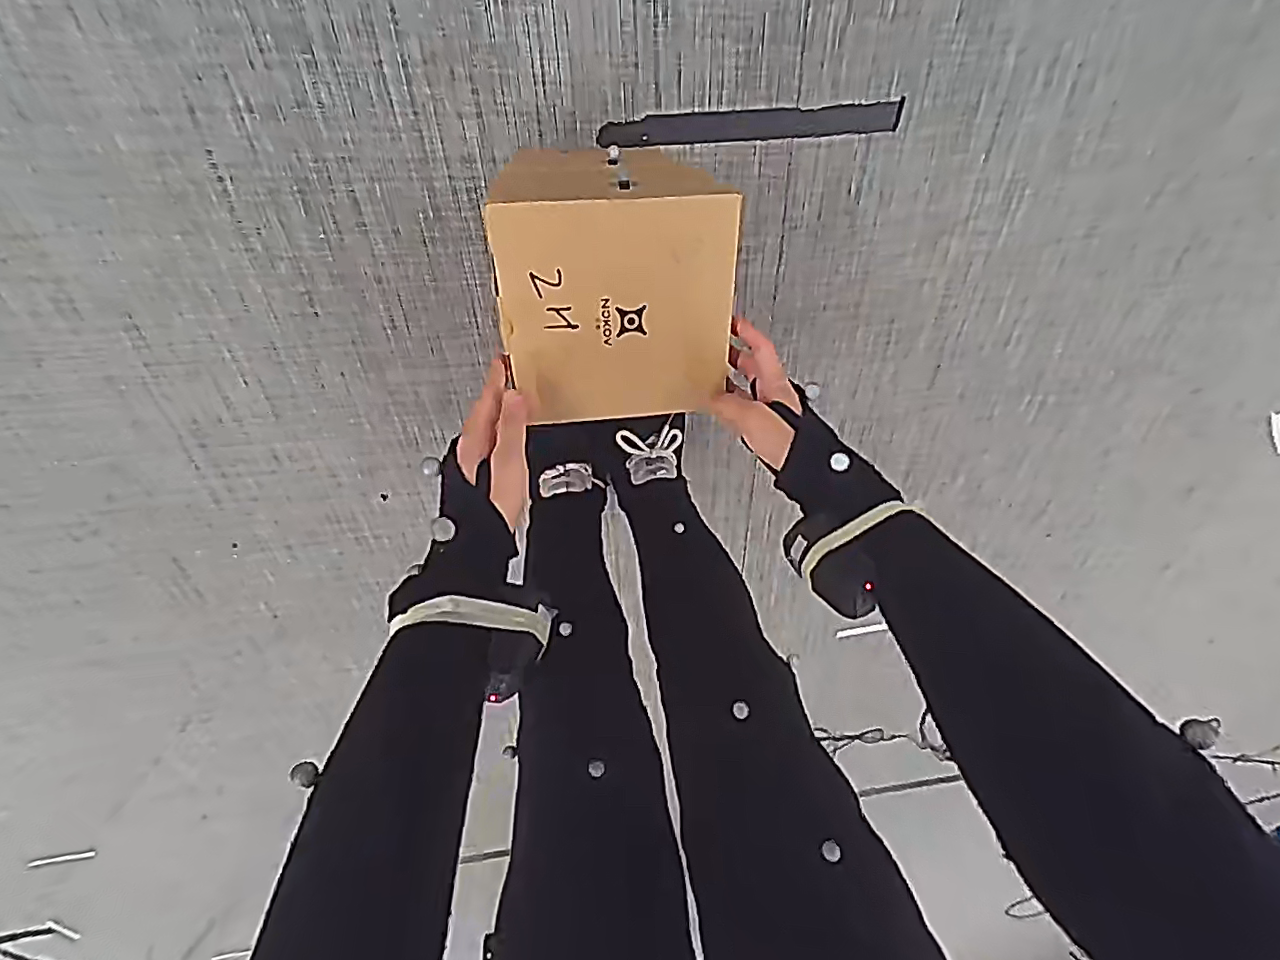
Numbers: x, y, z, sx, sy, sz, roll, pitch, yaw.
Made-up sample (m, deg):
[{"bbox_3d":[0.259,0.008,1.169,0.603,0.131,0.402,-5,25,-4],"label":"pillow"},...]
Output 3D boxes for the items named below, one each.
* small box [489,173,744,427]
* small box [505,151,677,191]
[{"bbox_3d":[-0.025,-0.163,0.469,0.179,0.176,0.168,-5,125,-6],"label":"small box"},{"bbox_3d":[-0.052,-0.257,0.604,0.168,0.176,0.179,-5,127,-7],"label":"small box"}]
